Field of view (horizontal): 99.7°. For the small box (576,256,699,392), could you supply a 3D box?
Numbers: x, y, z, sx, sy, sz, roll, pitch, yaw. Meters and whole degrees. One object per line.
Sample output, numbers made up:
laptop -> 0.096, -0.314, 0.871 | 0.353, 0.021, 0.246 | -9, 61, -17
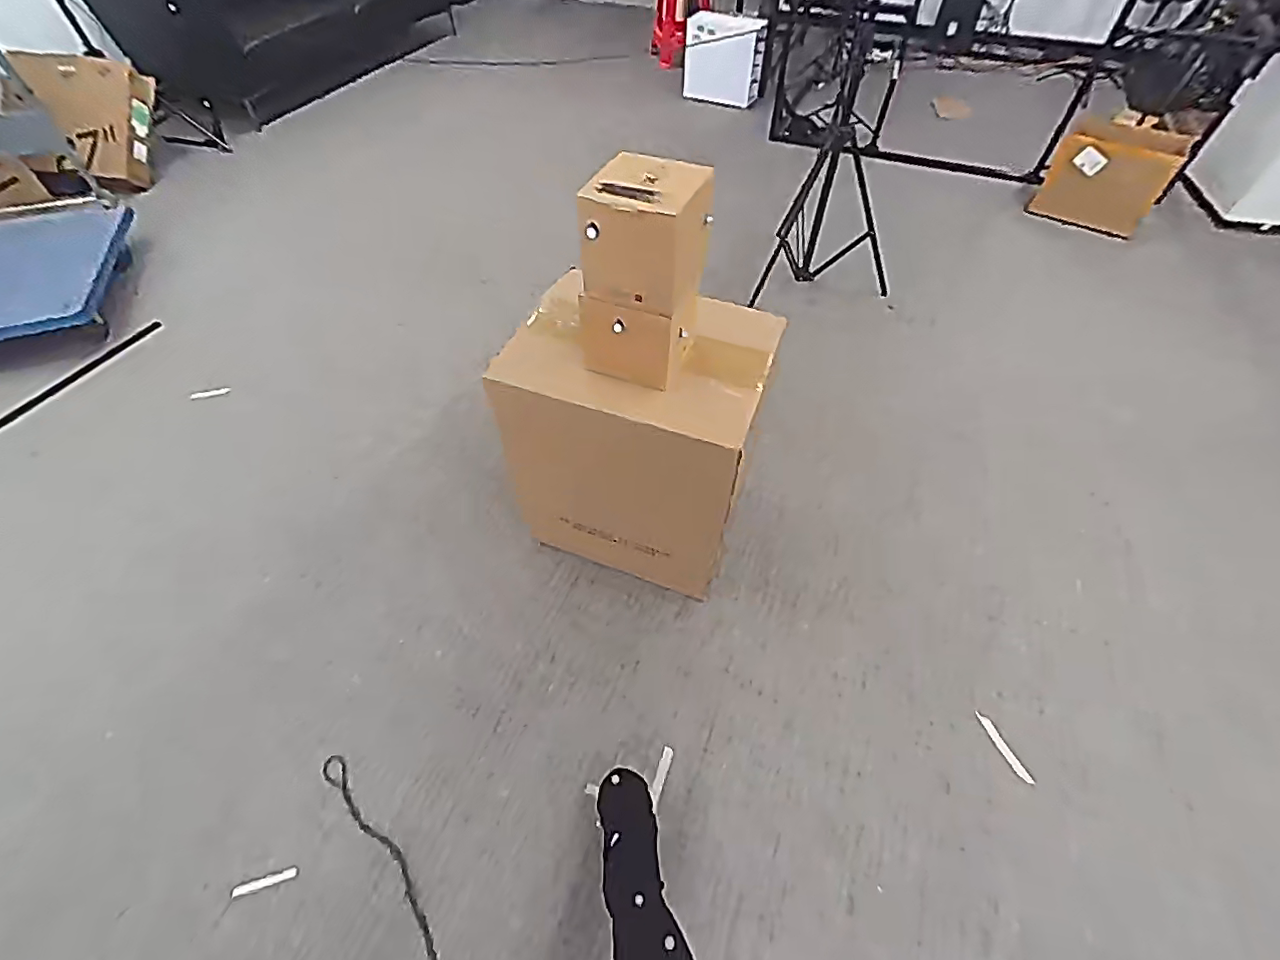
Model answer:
small box -> -0.001, -0.290, 1.024 | 0.179, 0.176, 0.168 | 17, 55, 13
